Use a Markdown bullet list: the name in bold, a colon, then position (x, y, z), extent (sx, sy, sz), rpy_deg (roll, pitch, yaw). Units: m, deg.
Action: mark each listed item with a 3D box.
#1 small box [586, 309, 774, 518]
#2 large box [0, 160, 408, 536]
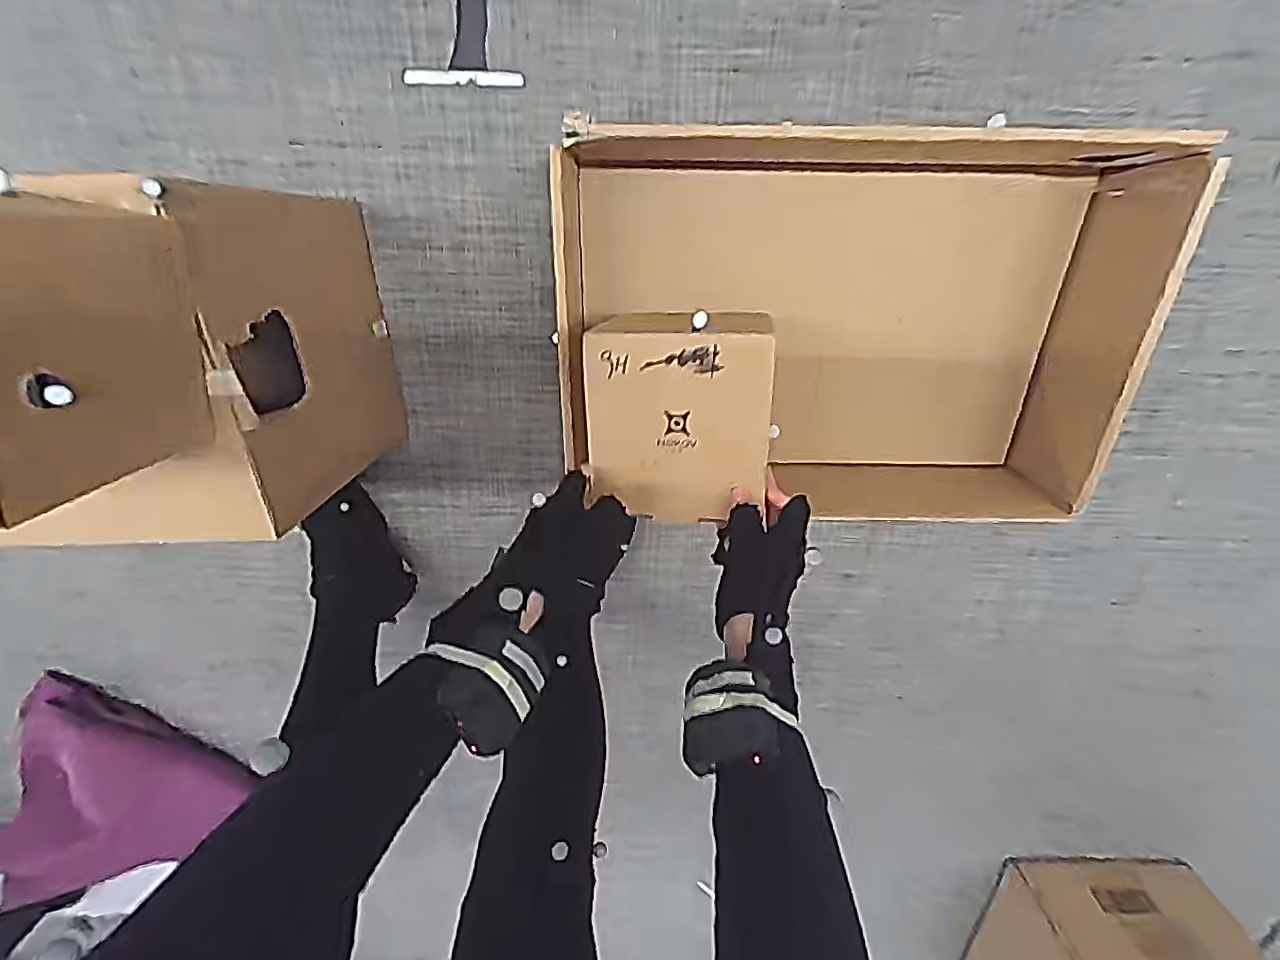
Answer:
- **small box**: position (0.047, -0.079, 0.565), extent (0.168, 0.176, 0.179), rpy_deg (3, 113, 10)
- **large box**: position (-0.541, -0.150, 0.603), extent (0.408, 0.320, 0.320), rpy_deg (-2, 115, 1)
